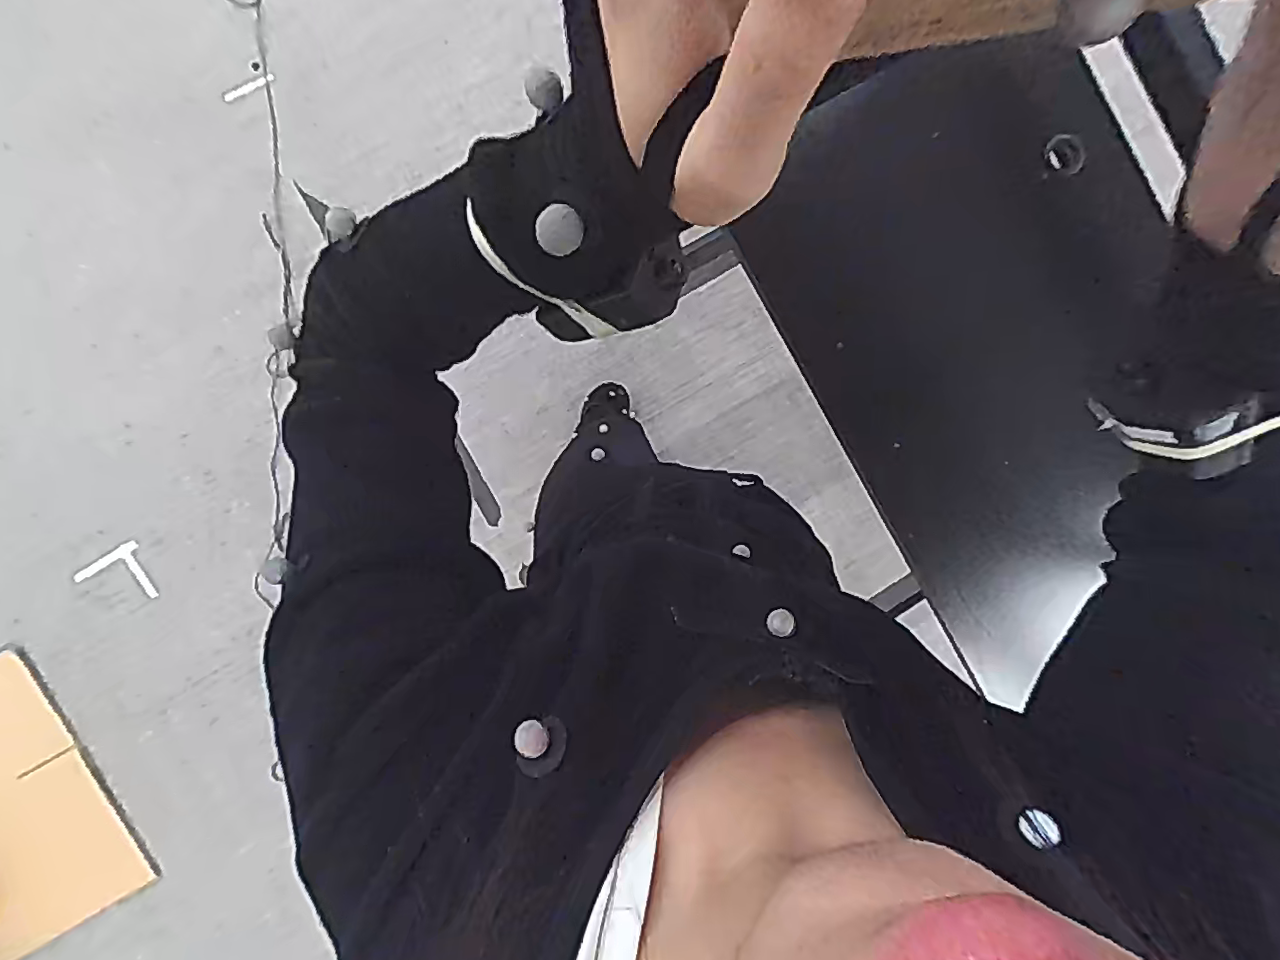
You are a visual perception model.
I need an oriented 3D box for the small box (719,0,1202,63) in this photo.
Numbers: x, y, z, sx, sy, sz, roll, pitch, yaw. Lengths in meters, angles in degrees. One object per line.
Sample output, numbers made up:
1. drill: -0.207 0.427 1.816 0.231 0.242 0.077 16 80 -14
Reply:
1. small box: 0.086 -0.182 0.053 0.168 0.176 0.179 -4 112 8
